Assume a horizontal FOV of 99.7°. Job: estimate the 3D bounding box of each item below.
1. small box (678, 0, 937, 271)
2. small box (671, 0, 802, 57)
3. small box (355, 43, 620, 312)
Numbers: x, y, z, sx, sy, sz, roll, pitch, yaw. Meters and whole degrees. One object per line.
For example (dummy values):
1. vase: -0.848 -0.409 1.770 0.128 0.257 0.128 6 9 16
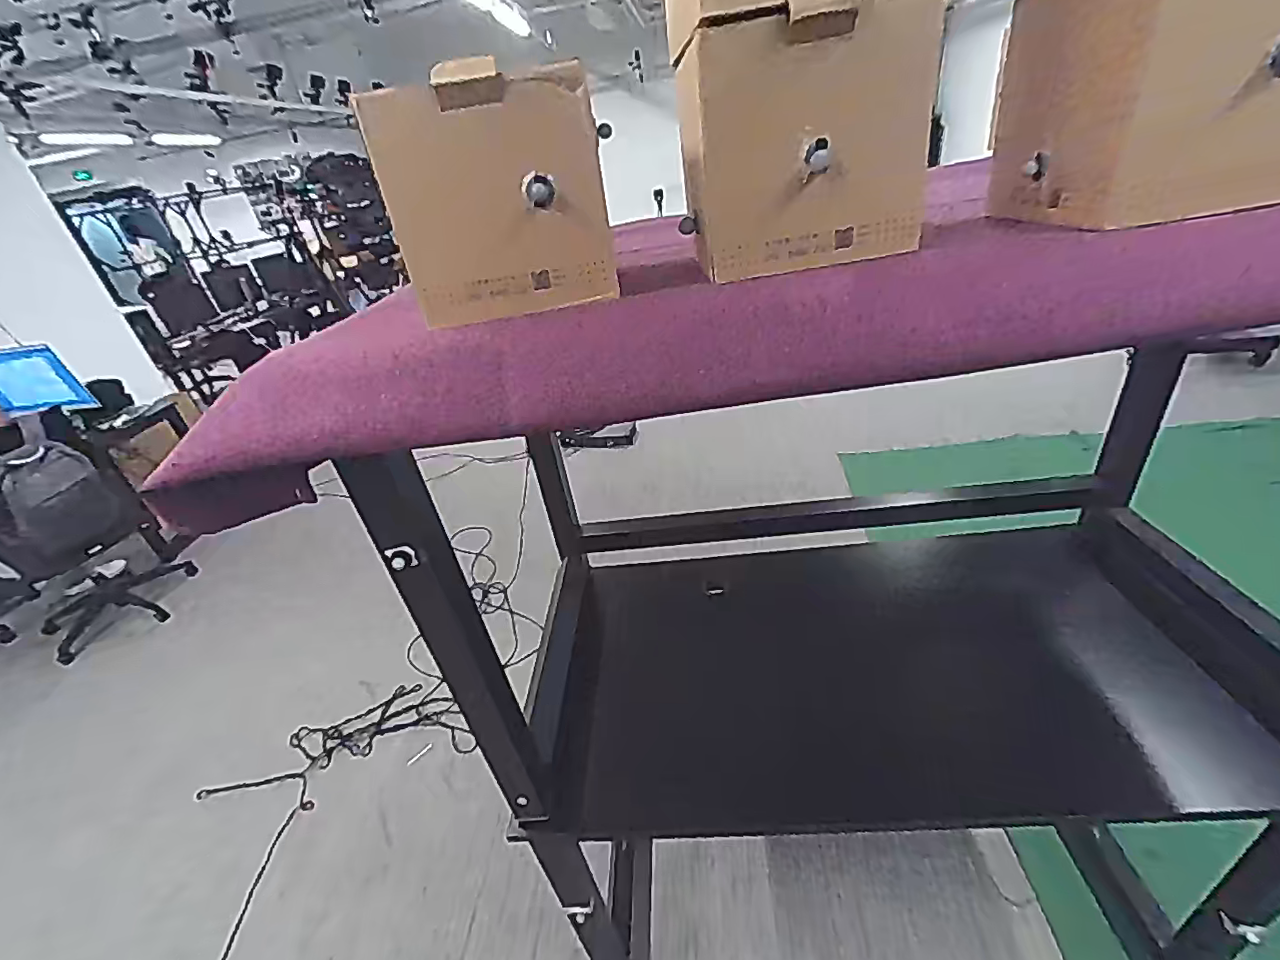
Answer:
1. small box: 0.128 -0.286 0.463 0.168 0.176 0.179 -7 30 3
2. small box: 0.104 -0.423 0.378 0.168 0.176 0.179 -9 28 2
3. small box: -0.110 -0.255 0.483 0.168 0.176 0.179 -8 29 2
